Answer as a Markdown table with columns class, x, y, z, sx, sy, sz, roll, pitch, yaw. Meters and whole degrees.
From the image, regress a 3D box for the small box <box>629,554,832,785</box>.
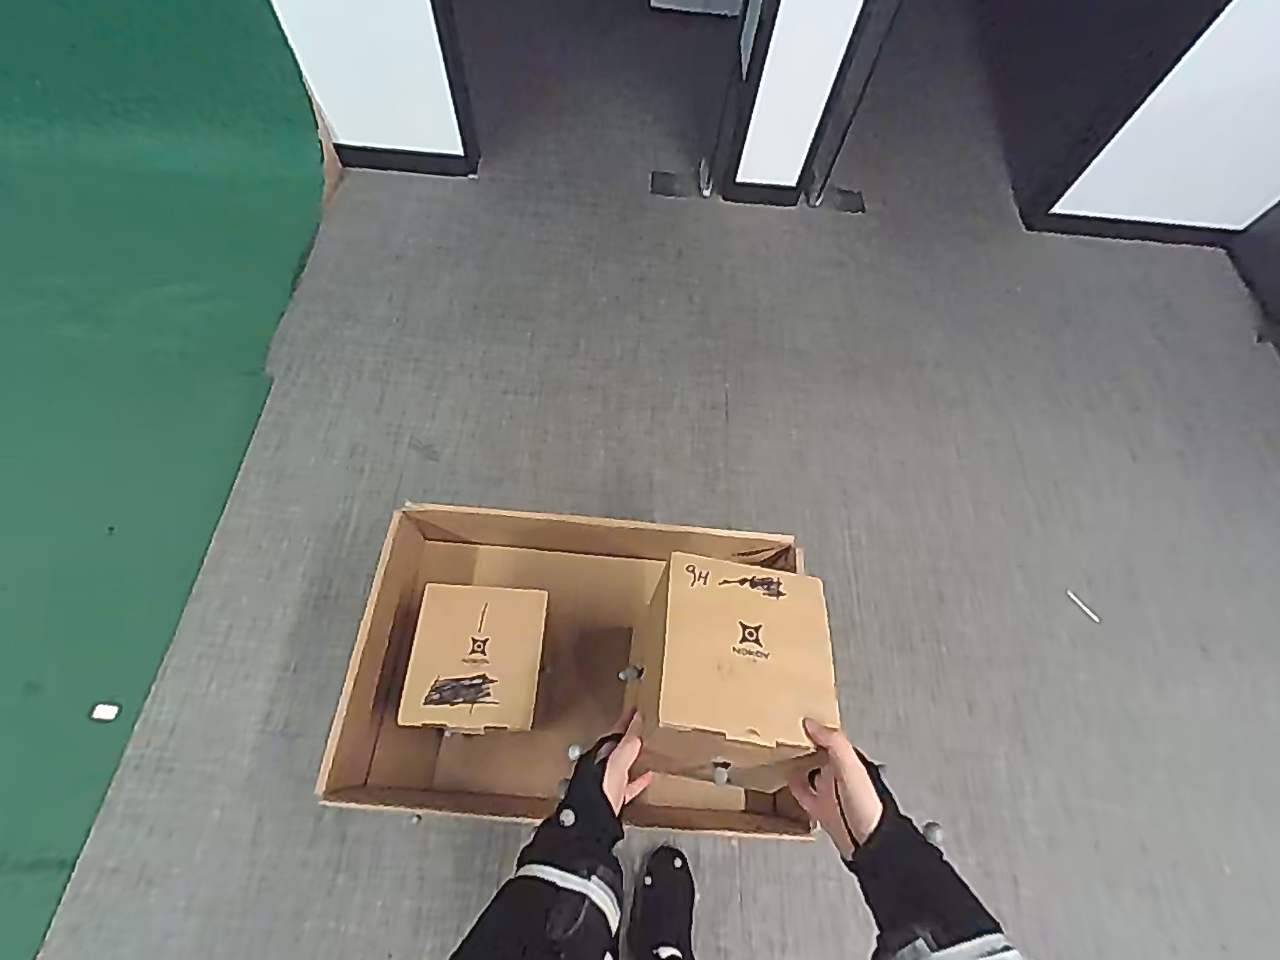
| class | x | y | z | sx | sy | sz | roll | pitch | yaw |
| --- | --- | --- | --- | --- | --- | --- | --- | --- | --- |
| small box | 0.086 | 0.208 | 0.578 | 0.168 | 0.176 | 0.179 | 11 | 50 | -3 |
